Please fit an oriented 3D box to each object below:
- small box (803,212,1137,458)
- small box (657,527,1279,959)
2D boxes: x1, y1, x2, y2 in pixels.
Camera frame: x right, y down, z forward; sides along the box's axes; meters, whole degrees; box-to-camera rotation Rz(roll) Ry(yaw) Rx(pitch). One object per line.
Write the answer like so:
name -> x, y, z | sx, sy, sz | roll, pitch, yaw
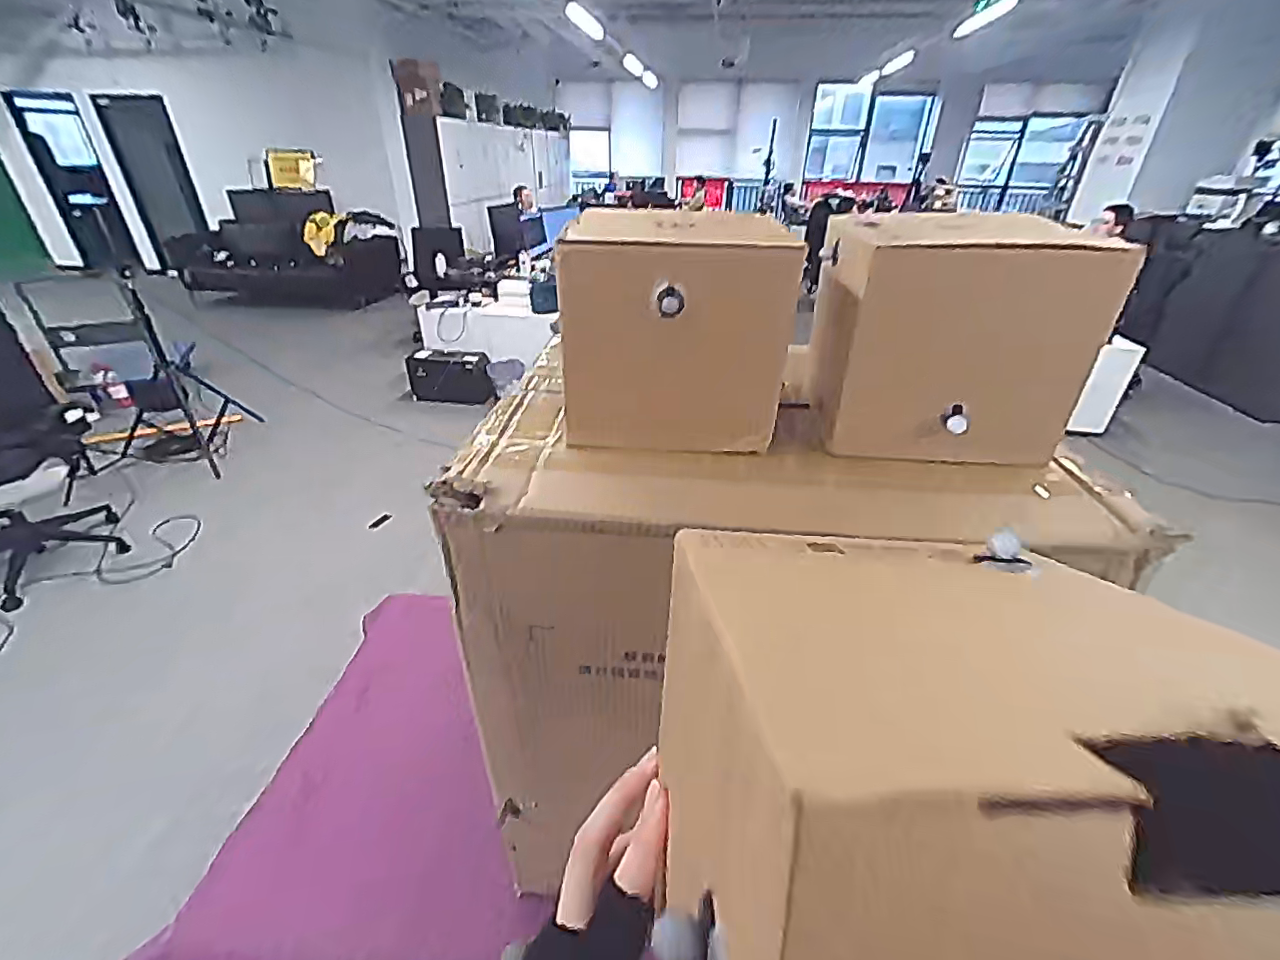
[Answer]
small box -> 0.254, -0.130, 0.474 | 0.179, 0.176, 0.168 | 3, 31, 5
small box -> 0.098, 0.119, 0.189 | 0.168, 0.179, 0.176 | 4, 8, -3
